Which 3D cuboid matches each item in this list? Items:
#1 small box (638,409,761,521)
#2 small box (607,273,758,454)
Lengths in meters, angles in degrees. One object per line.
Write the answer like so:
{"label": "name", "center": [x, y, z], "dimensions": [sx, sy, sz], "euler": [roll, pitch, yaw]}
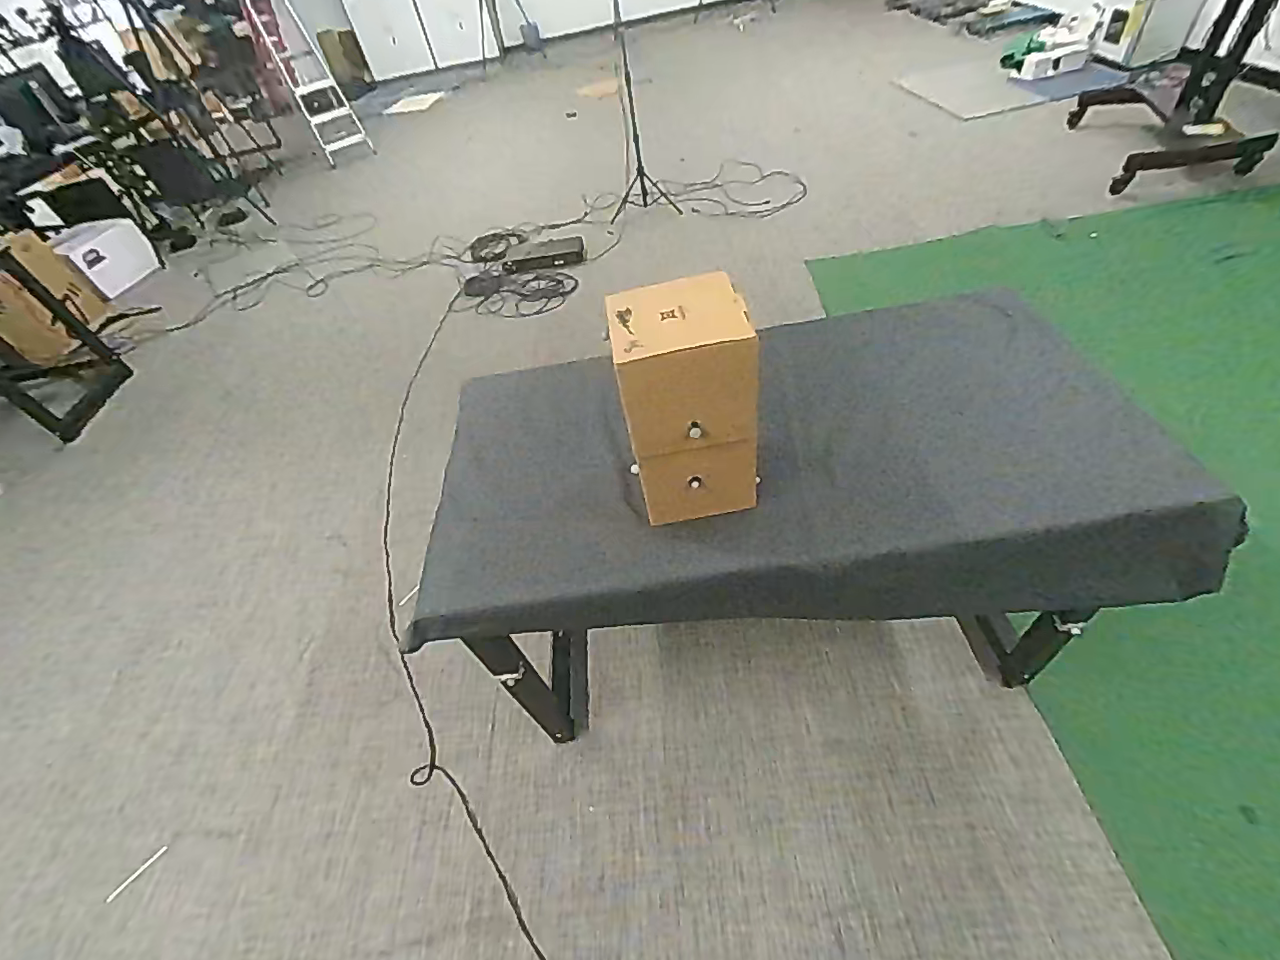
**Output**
{"label": "small box", "center": [0.085, -0.057, 0.881], "dimensions": [0.179, 0.176, 0.168], "euler": [-12, 48, -1]}
{"label": "small box", "center": [0.057, -0.160, 0.757], "dimensions": [0.179, 0.176, 0.168], "euler": [-10, 47, 2]}
